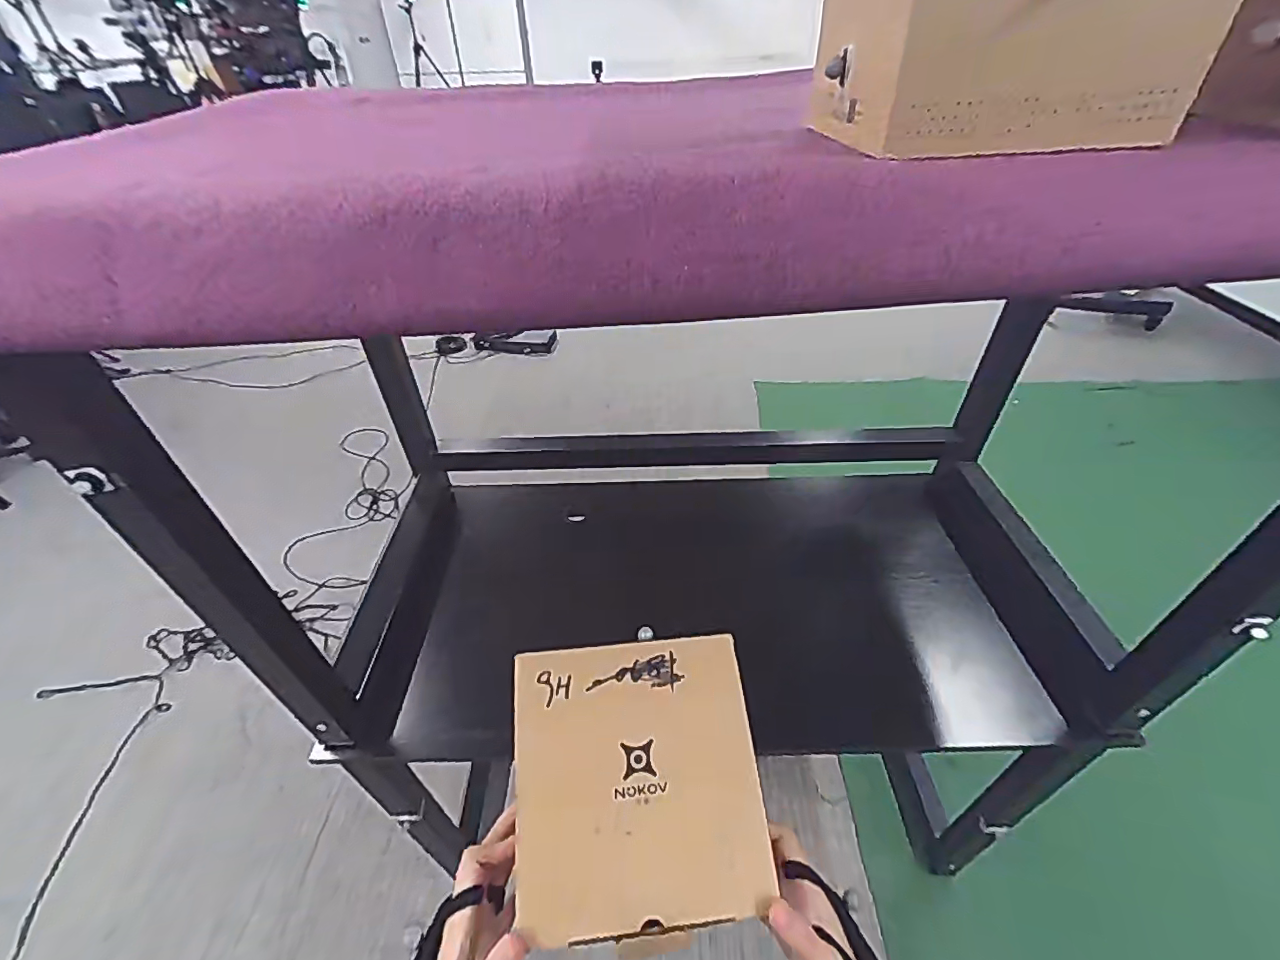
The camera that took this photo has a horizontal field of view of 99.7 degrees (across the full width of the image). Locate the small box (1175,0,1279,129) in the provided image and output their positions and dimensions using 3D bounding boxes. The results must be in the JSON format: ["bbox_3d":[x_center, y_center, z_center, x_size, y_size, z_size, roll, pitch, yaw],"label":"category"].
[{"bbox_3d":[0.505,-0.314,0.323,0.179,0.176,0.168,-2,40,3],"label":"small box"}]
